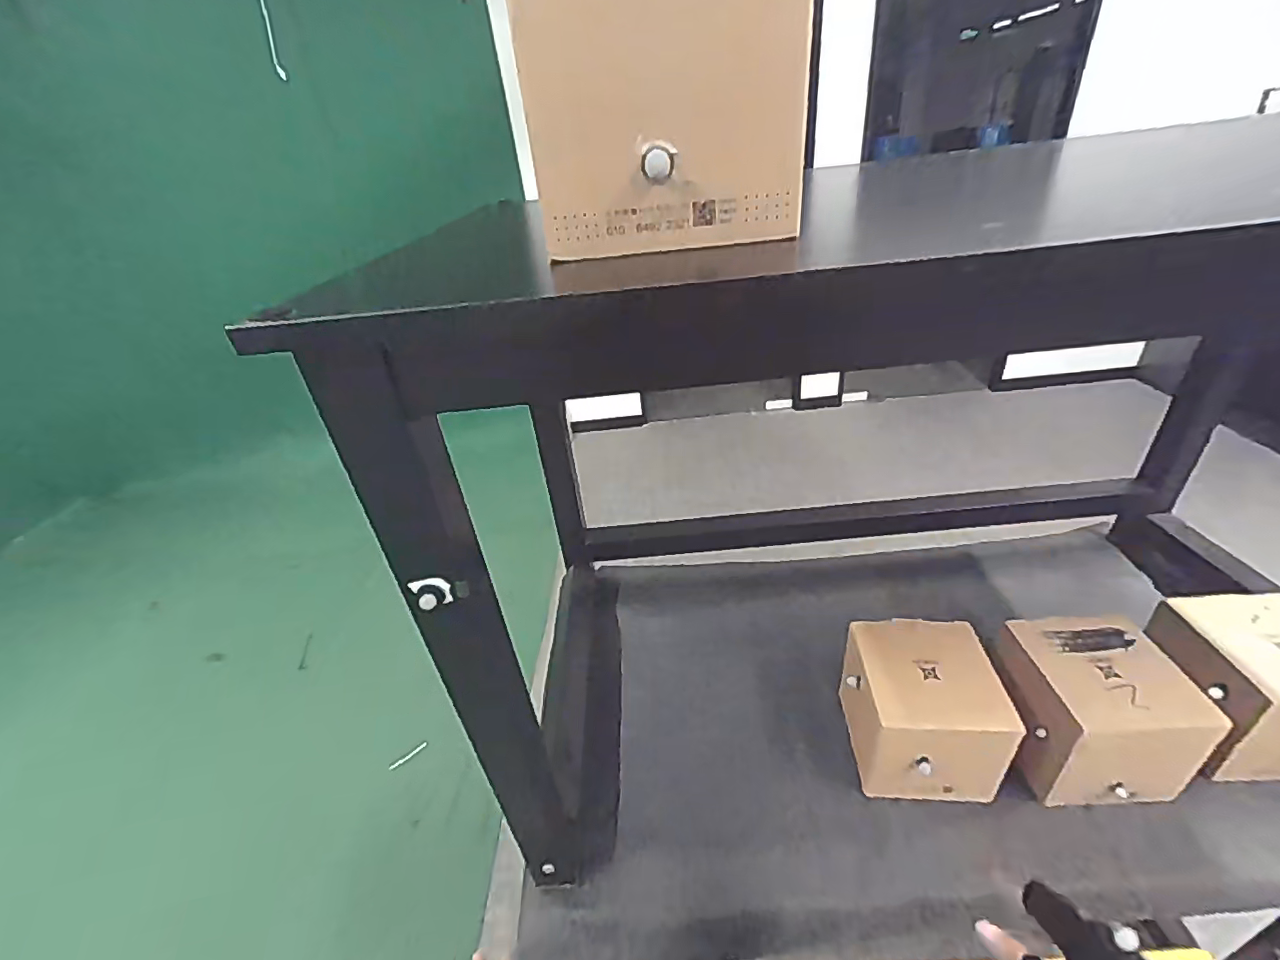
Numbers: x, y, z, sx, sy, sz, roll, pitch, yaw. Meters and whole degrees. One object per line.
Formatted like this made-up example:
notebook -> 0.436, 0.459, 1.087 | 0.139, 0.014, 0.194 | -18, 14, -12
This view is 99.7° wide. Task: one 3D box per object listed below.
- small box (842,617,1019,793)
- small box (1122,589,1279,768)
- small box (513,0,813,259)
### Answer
small box -> 0.394, 0.317, 0.769 | 0.168, 0.176, 0.179 | -2, 33, 8
small box -> 0.833, 0.275, 0.744 | 0.168, 0.176, 0.179 | -4, 32, 5
small box -> 0.015, -0.262, 0.381 | 0.168, 0.176, 0.179 | -5, 33, 4
